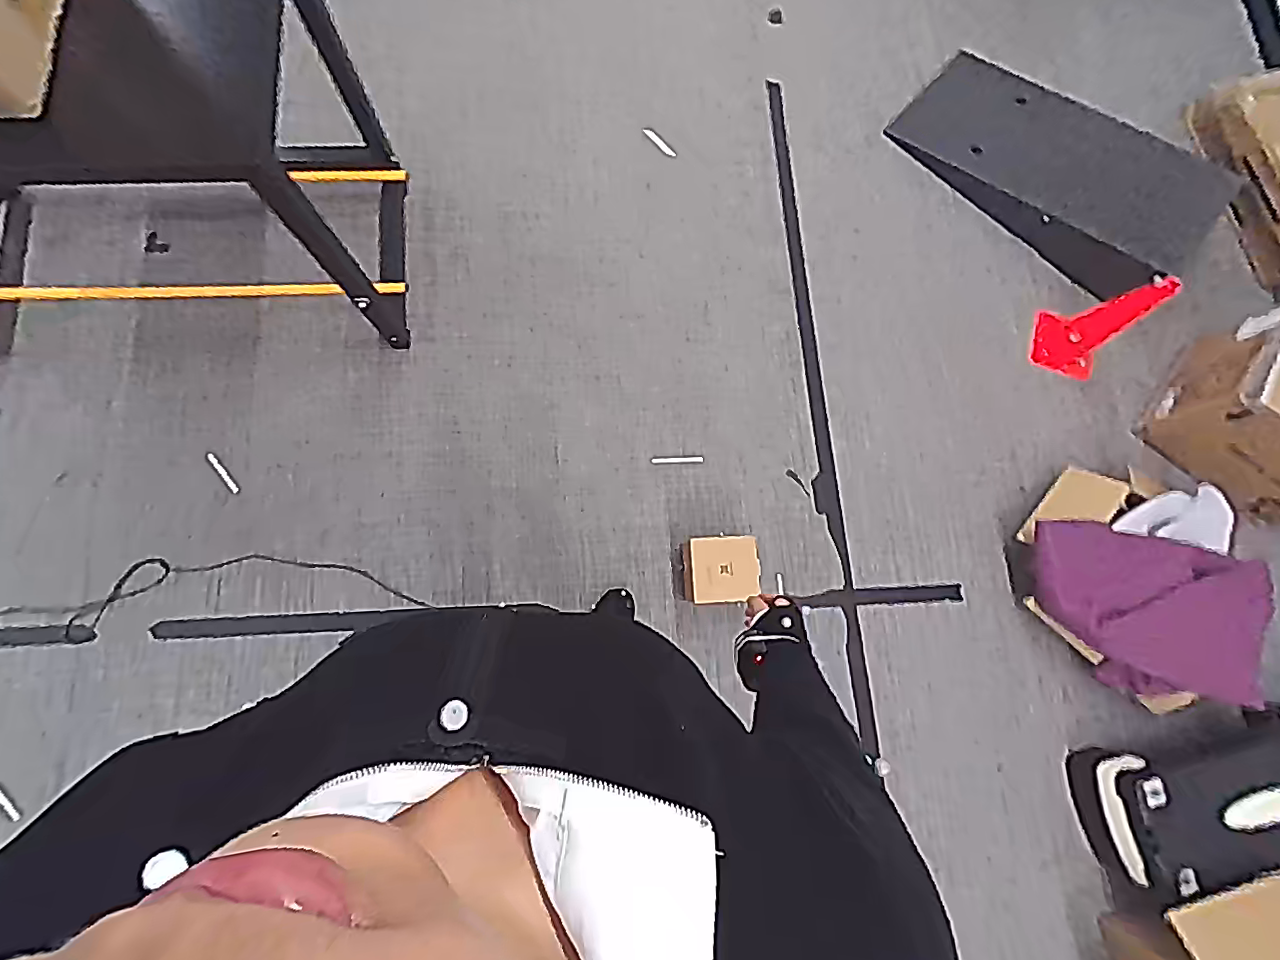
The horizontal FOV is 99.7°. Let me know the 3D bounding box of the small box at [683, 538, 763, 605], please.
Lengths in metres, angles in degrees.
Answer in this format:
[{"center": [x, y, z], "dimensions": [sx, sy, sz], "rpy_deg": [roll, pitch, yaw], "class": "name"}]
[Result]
[{"center": [0.215, 0.247, 1.450], "dimensions": [0.179, 0.176, 0.168], "rpy_deg": [-3, 78, -3], "class": "small box"}]
